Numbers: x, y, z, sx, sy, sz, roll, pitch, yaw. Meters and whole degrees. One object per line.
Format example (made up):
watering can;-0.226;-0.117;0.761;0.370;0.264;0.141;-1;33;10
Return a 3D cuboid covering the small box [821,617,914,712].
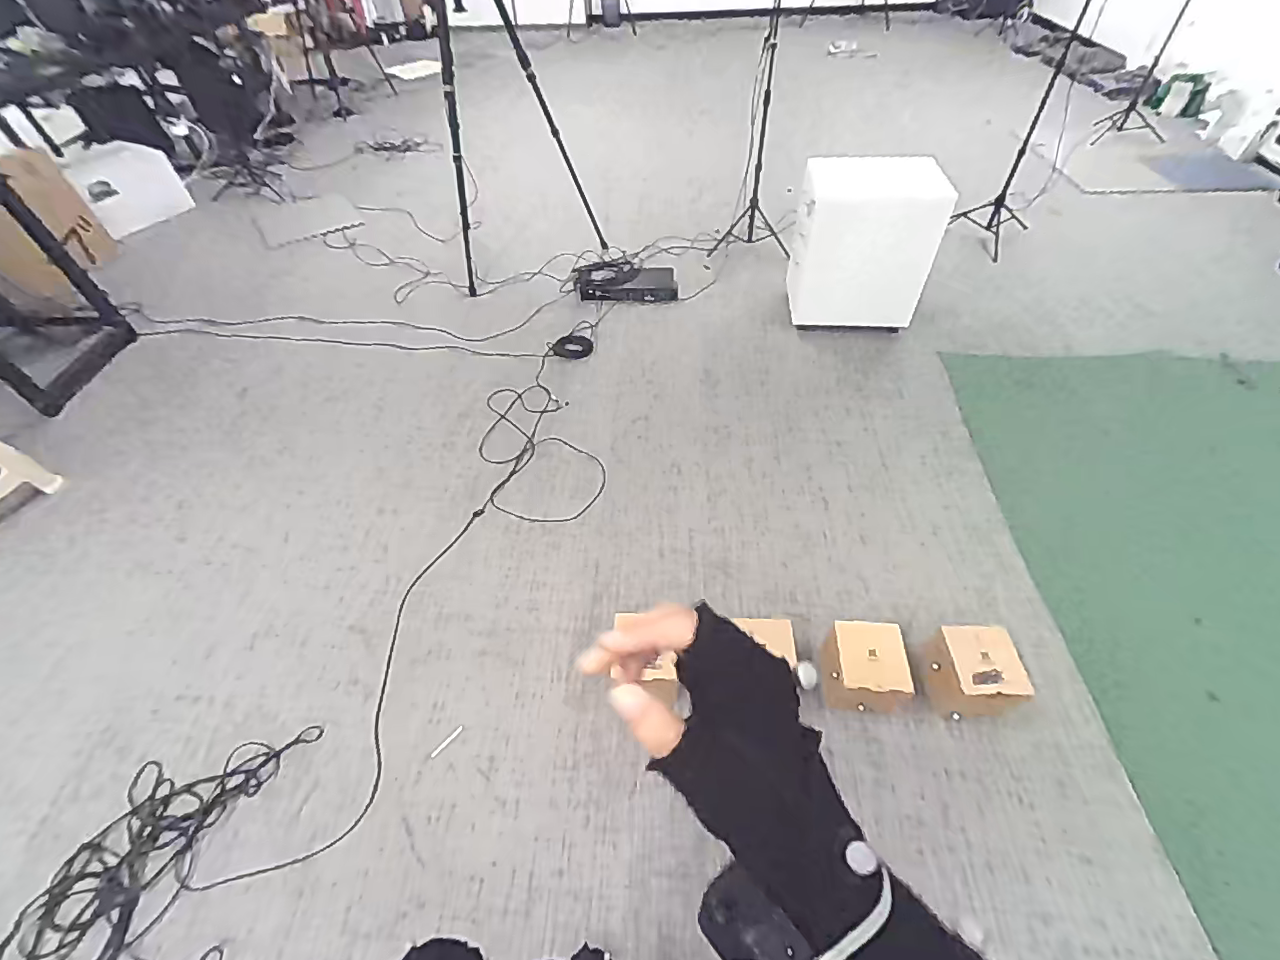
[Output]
small box;0.576;0.476;1.395;0.168;0.176;0.179;3;51;5

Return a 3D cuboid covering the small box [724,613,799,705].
small box;0.309;0.468;1.410;0.168;0.176;0.179;1;50;4

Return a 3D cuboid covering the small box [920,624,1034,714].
small box;0.845;0.483;1.376;0.168;0.176;0.179;0;50;3
